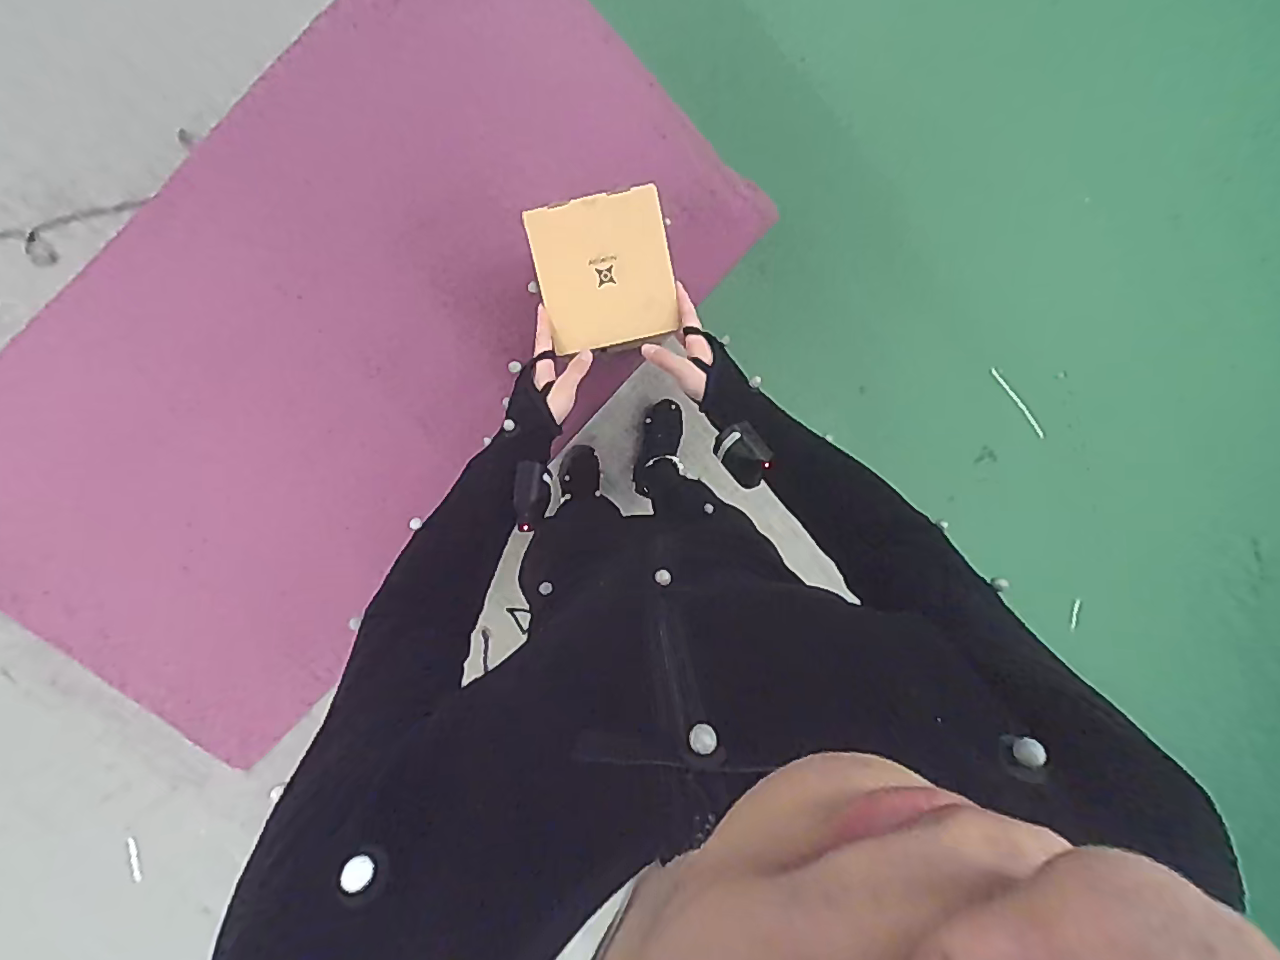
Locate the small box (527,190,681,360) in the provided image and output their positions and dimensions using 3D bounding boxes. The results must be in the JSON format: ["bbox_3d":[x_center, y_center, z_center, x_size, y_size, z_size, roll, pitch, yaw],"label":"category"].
[{"bbox_3d":[-0.044,-0.264,0.740,0.168,0.176,0.179,-11,99,-1],"label":"small box"}]
